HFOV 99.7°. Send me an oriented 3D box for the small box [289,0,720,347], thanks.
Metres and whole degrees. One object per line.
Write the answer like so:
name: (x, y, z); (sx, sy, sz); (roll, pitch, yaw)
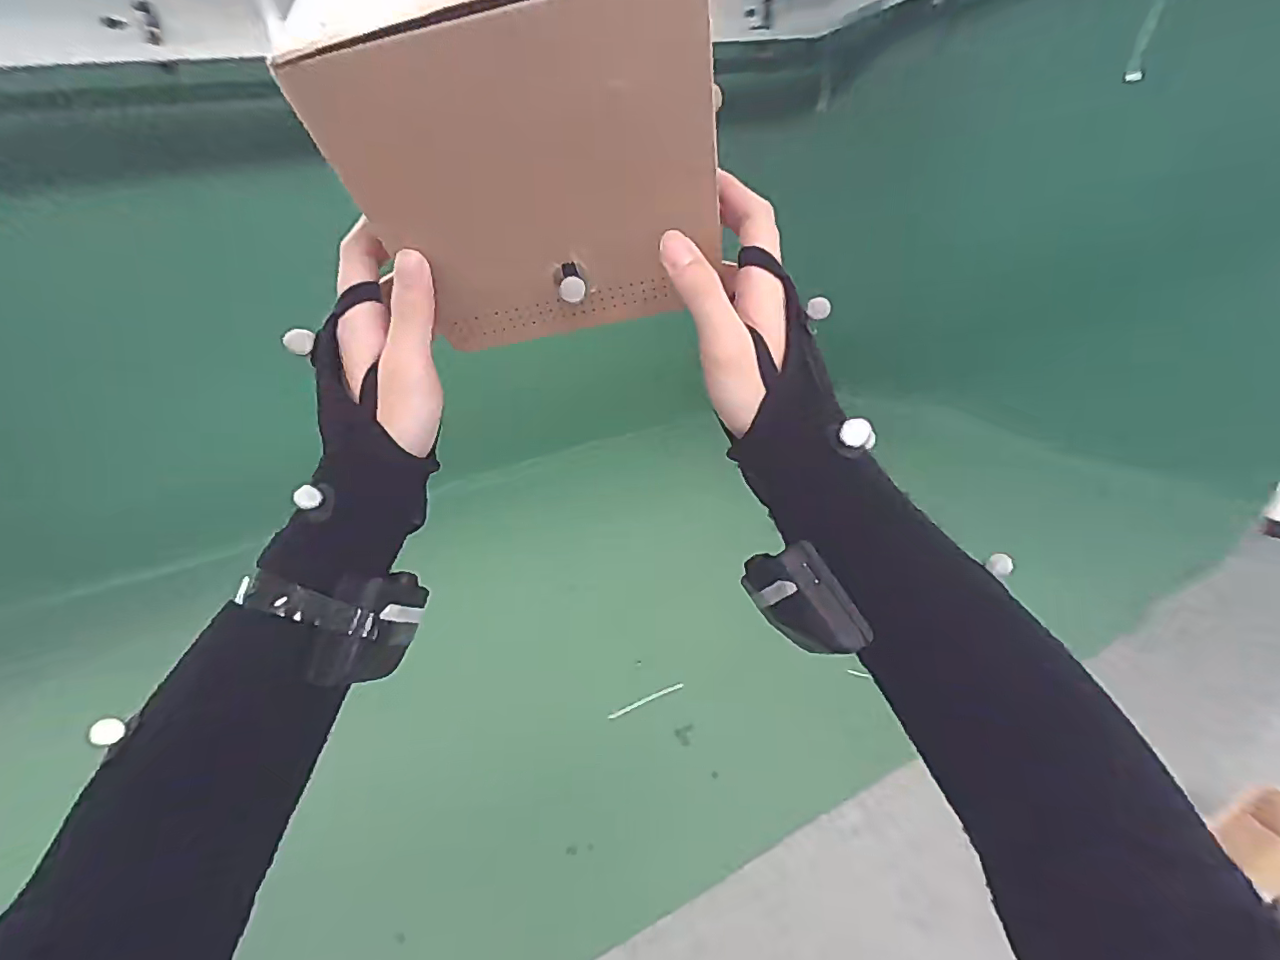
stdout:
small box: (-0.051, -0.204, 0.317); (0.179, 0.176, 0.168); (-10, 58, 5)
